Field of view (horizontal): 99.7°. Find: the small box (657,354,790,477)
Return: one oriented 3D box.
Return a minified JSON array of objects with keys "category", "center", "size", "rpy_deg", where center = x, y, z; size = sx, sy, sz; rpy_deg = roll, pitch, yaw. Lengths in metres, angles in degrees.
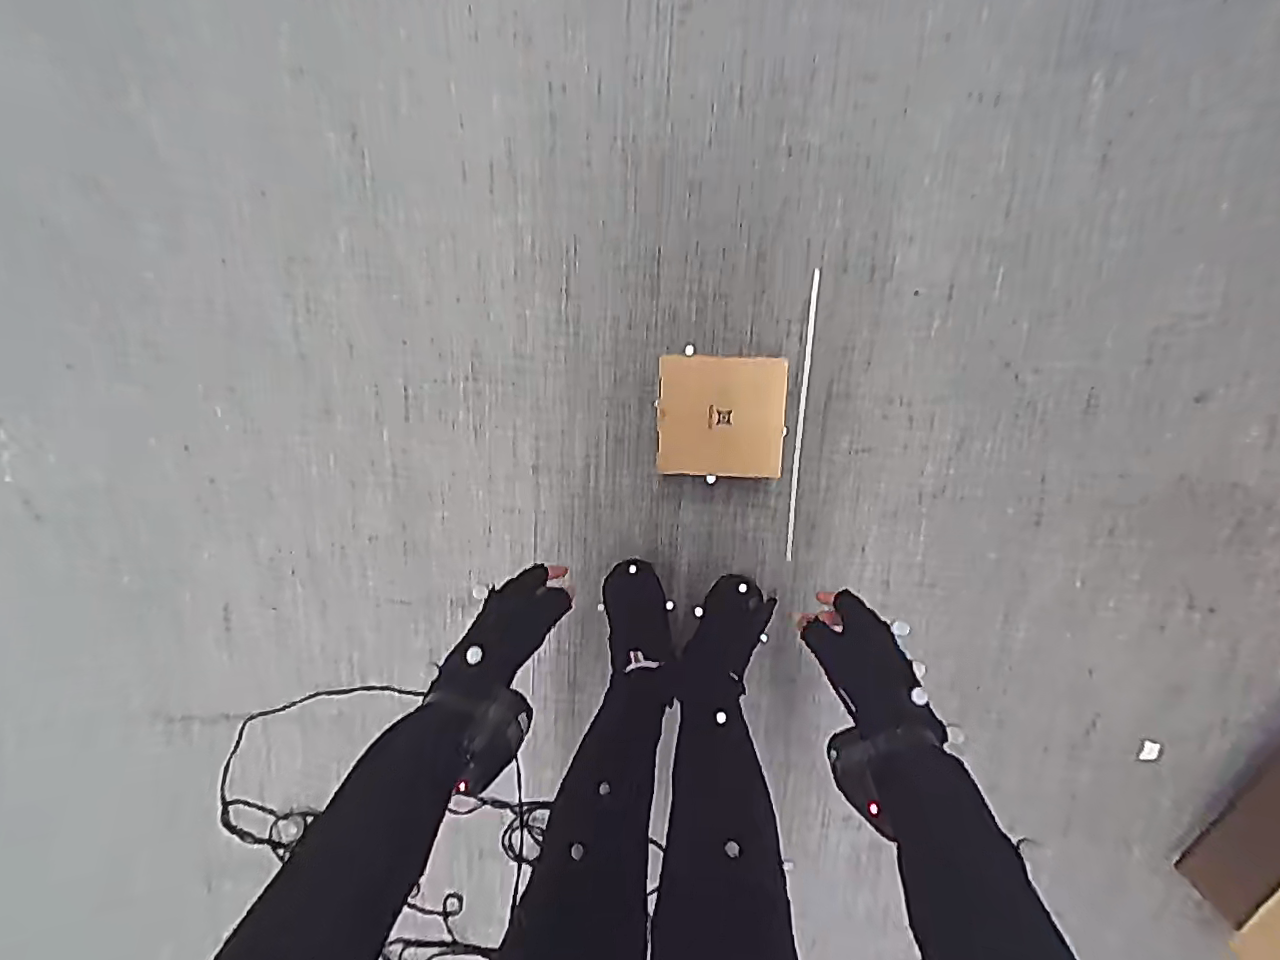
[{"category":"small box","center":[0.121,-0.103,0.821],"size":[0.179,0.176,0.168],"rpy_deg":[3,100,7]}]
